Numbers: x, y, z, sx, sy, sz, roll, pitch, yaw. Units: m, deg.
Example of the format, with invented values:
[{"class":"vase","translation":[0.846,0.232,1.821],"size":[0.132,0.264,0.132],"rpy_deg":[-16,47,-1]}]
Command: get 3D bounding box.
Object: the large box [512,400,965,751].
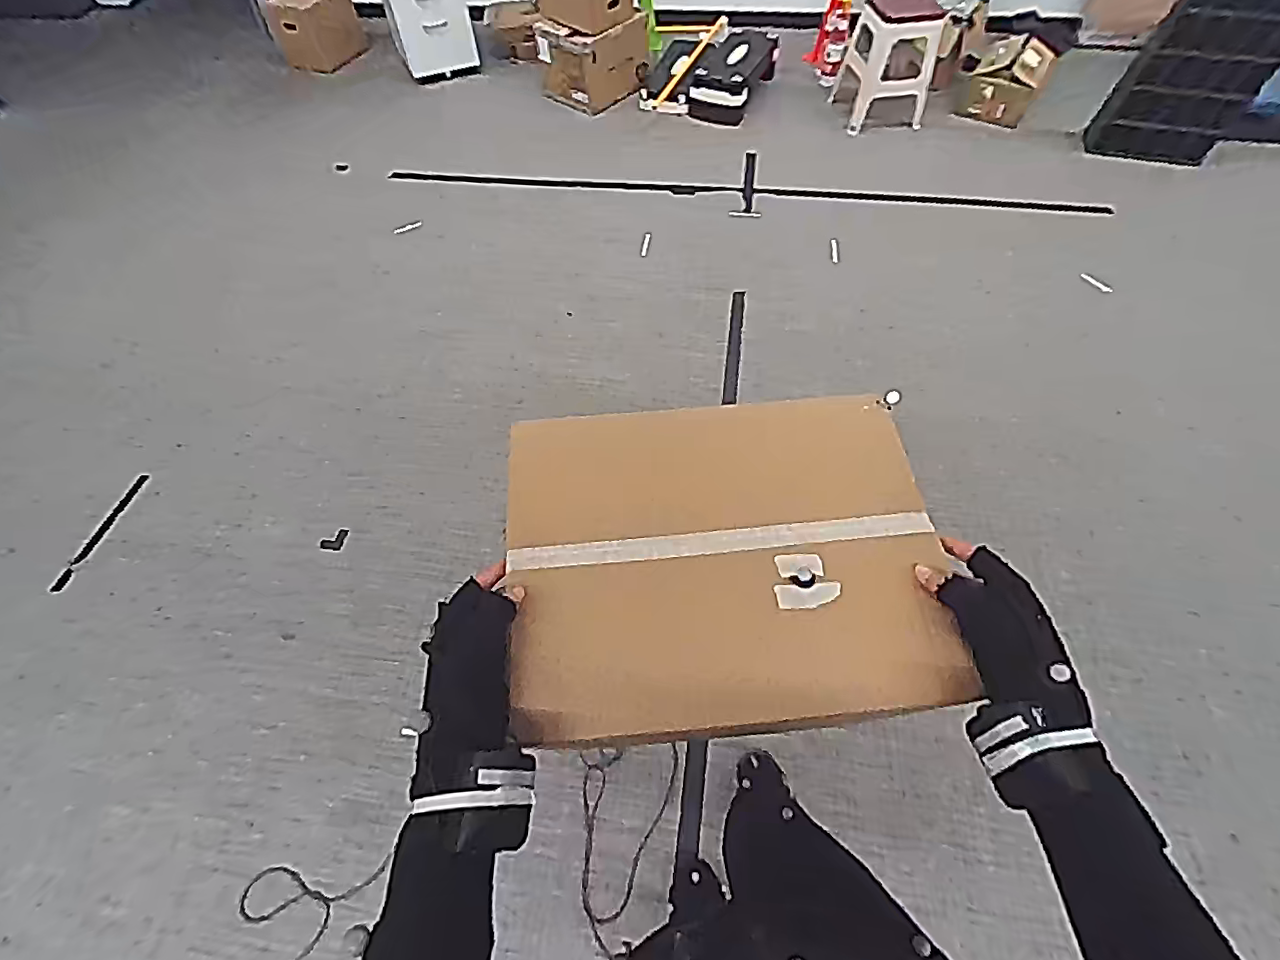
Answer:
[{"class":"large box","translation":[0.073,0.133,0.662],"size":[0.408,0.320,0.320],"rpy_deg":[-5,62,-2]}]
